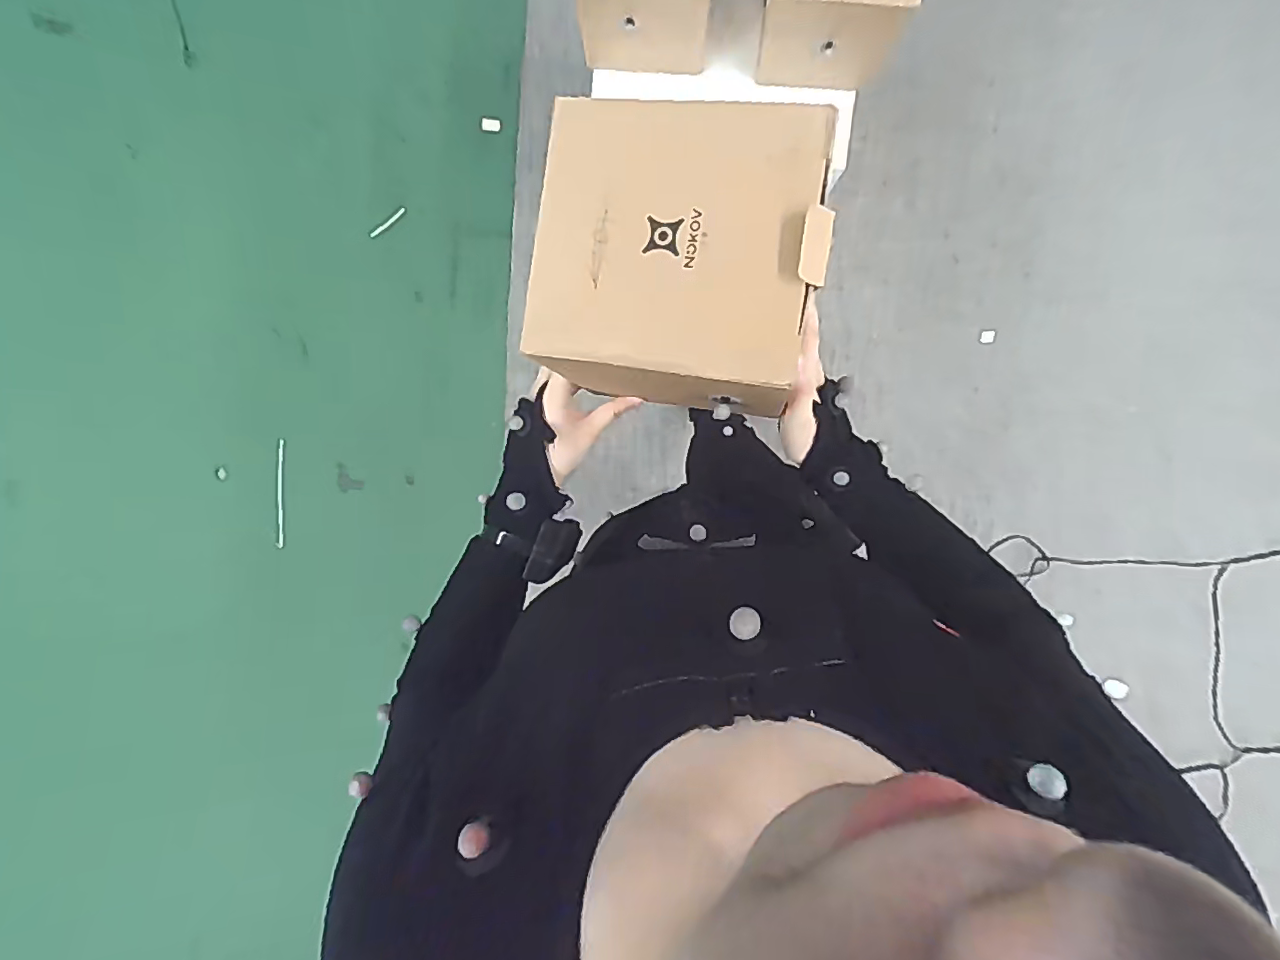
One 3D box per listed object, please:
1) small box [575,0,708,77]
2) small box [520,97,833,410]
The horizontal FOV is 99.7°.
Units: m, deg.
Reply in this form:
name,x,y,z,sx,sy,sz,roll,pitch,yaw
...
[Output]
name,x,y,z,sx,sy,sz,roll,pitch,yaw
small box,0.006,-0.682,0.727,0.179,0.176,0.168,5,97,2
small box,0.032,-0.151,0.412,0.179,0.176,0.168,9,91,11
